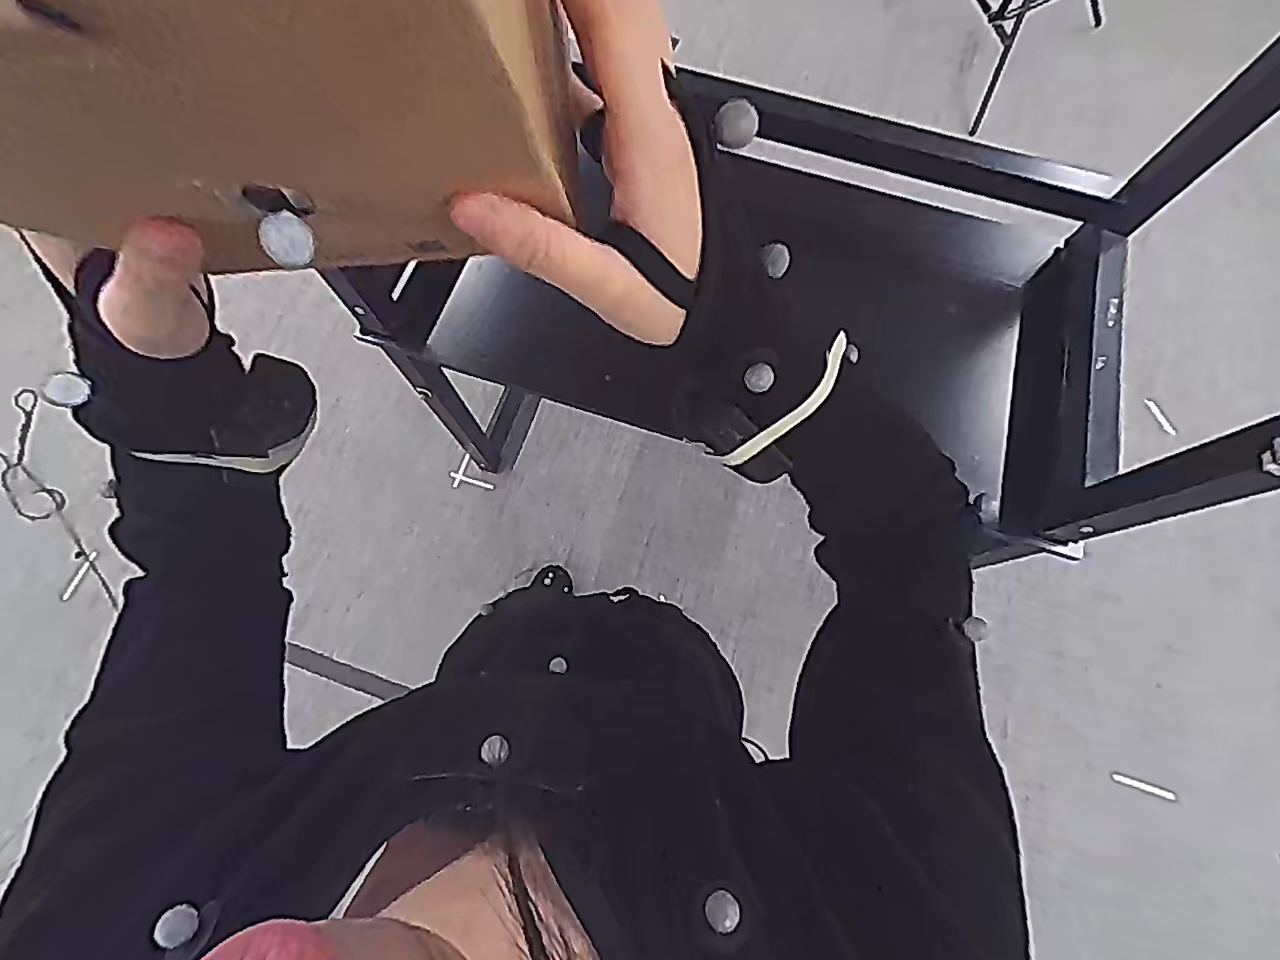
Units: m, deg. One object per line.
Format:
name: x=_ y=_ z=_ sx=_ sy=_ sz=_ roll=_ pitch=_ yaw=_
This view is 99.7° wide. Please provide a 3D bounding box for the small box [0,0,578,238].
small box: x=-0.109 y=-0.166 z=0.126 sx=0.168 sy=0.176 sz=0.179 roll=-4 pitch=101 yaw=-1
